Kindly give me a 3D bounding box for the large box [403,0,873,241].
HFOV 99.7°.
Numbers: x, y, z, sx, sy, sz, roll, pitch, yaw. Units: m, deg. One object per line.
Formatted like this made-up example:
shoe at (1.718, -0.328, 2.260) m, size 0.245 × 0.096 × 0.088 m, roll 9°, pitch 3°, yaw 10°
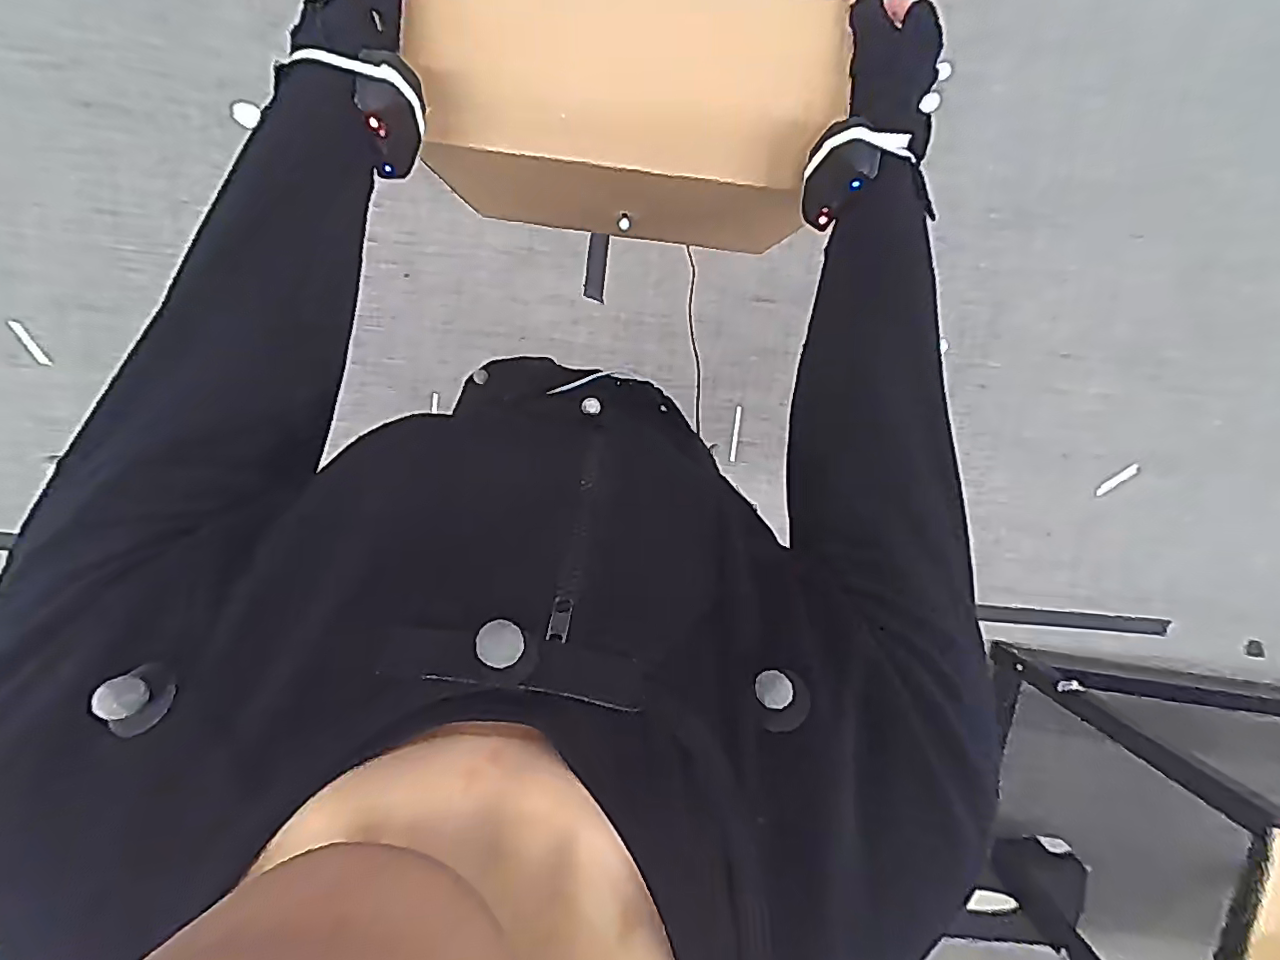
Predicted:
large box at (0.001, -0.468, 0.595) m, size 0.408 × 0.320 × 0.320 m, roll 6°, pitch 103°, yaw -4°
